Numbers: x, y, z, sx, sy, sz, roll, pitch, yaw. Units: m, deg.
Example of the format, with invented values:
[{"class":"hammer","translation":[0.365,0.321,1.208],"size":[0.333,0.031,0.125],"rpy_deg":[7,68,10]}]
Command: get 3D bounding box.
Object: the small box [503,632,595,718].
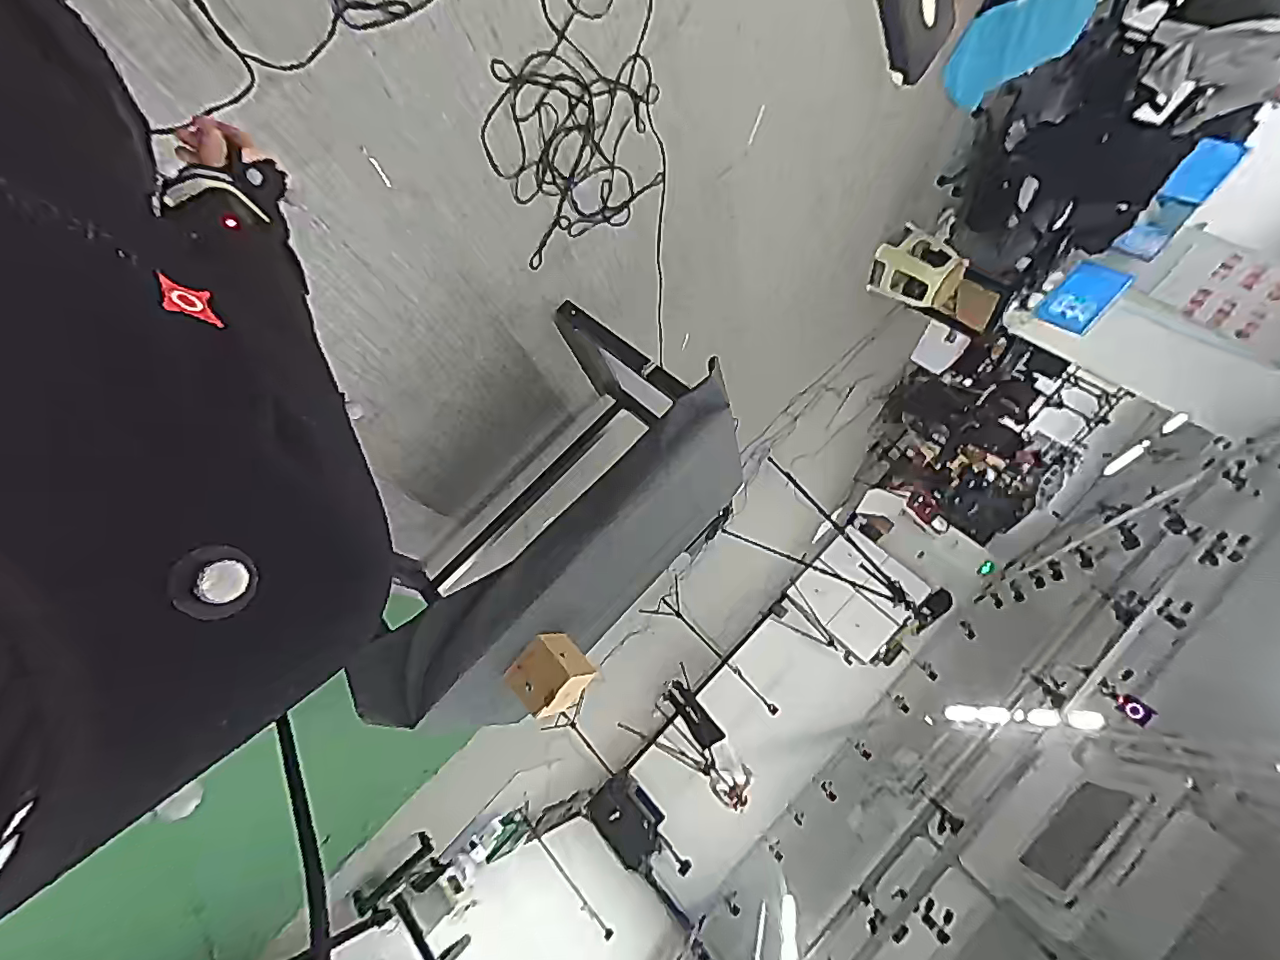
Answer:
[{"class":"small box","translation":[-0.274,0.575,1.620],"size":[0.168,0.176,0.179],"rpy_deg":[-49,156,4]}]
